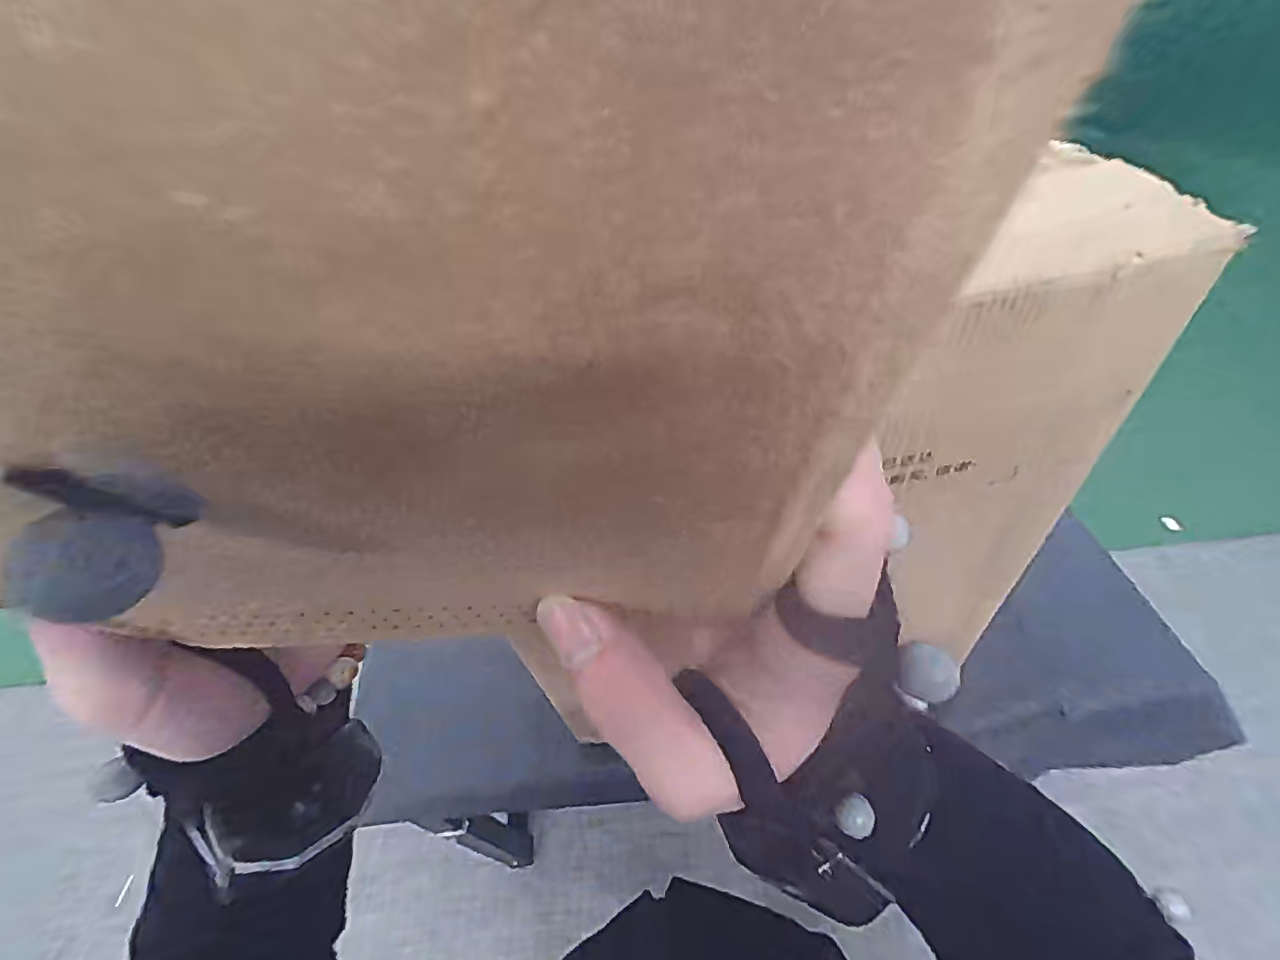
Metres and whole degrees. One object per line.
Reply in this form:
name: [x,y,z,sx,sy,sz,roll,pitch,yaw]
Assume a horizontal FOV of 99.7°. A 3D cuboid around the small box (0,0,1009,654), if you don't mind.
small box: [-0.057,-0.058,0.127,0.179,0.176,0.168,-5,64,4]
